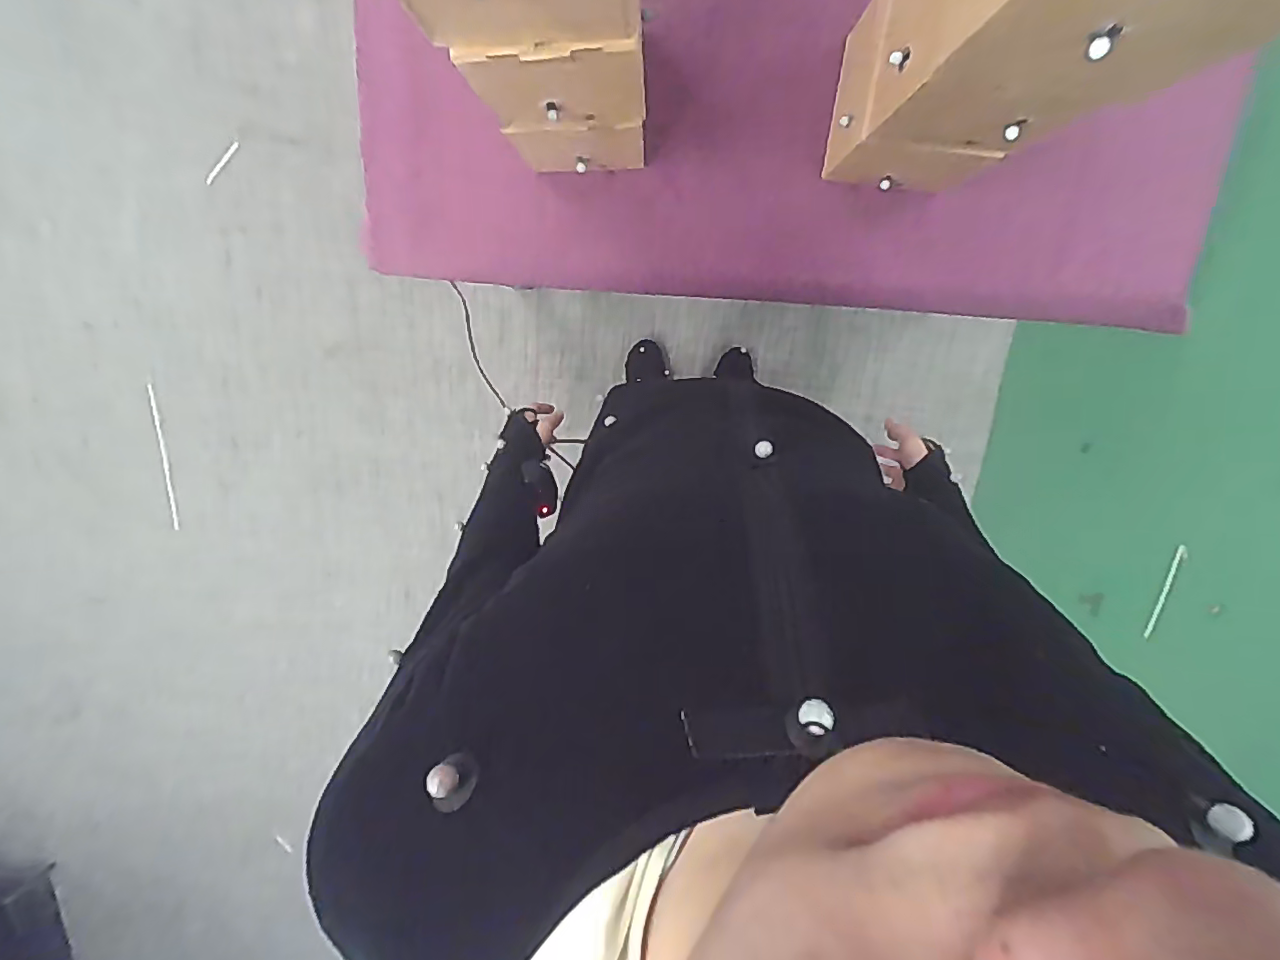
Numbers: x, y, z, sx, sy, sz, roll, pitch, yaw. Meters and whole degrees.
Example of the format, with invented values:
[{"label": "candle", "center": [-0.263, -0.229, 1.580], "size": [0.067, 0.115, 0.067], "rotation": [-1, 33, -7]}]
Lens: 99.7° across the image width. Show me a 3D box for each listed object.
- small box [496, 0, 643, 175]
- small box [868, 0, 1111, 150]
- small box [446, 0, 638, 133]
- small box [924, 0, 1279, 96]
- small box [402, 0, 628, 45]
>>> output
[{"label": "small box", "center": [-0.083, -0.510, 0.688], "size": [0.168, 0.176, 0.179], "rotation": [0, 105, 3]}, {"label": "small box", "center": [0.336, -0.439, 0.514], "size": [0.168, 0.176, 0.179], "rotation": [6, 105, 1]}, {"label": "small box", "center": [-0.089, -0.473, 0.530], "size": [0.168, 0.176, 0.179], "rotation": [-2, 105, 3]}, {"label": "small box", "center": [0.330, -0.387, 0.359], "size": [0.179, 0.176, 0.168], "rotation": [9, 105, 2]}, {"label": "small box", "center": [-0.104, -0.435, 0.371], "size": [0.179, 0.176, 0.168], "rotation": [-1, 105, 4]}]
